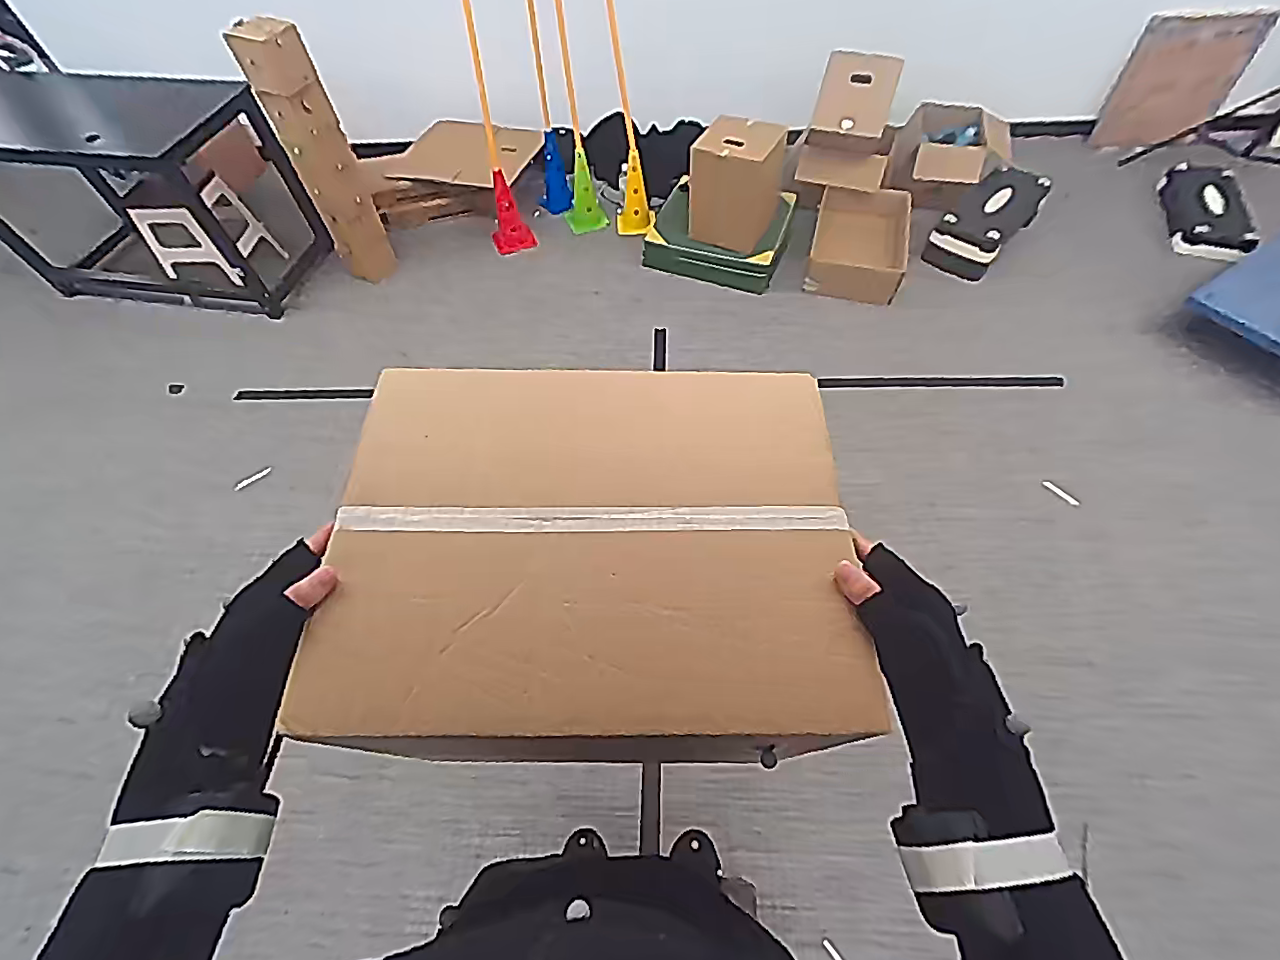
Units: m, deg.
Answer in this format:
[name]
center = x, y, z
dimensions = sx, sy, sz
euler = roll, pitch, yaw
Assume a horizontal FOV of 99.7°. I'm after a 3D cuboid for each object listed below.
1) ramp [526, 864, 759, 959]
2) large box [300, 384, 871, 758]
[ramp]
center = 0.001, 1.315, 1.001
dimensions = 0.509, 0.206, 0.991
euler = -1, 57, 0
[large box]
center = -0.038, 0.115, 0.574
dimensions = 0.408, 0.320, 0.320
euler = 0, 59, -1
